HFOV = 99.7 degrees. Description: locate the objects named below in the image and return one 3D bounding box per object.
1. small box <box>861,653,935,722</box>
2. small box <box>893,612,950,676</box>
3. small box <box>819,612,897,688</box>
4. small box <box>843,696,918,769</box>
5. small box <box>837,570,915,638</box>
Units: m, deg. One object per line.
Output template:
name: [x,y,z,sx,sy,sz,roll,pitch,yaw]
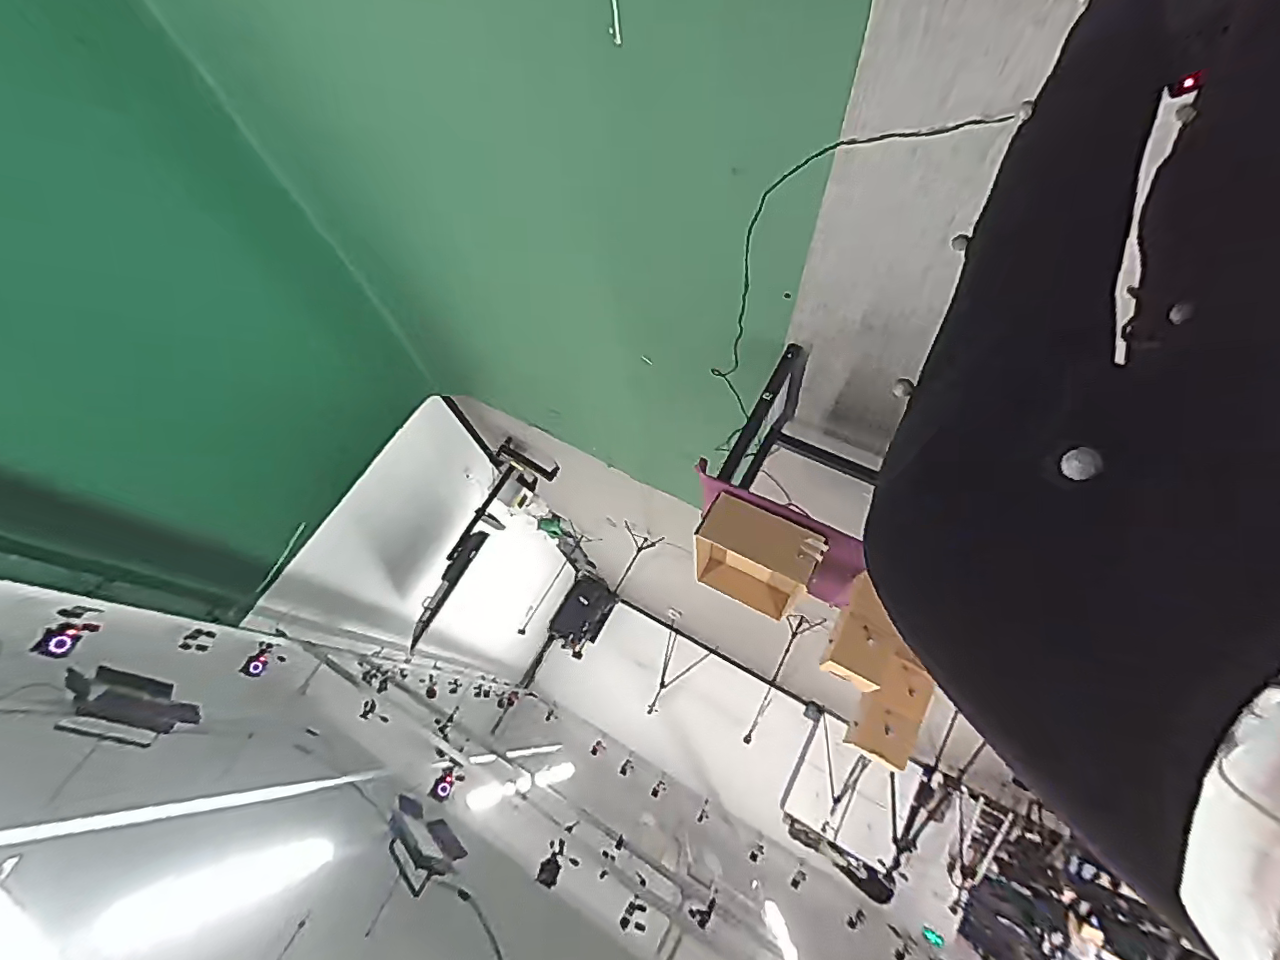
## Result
small box: [0.902,0.720,1.884,0.168,0.176,0.179,26,161,17]
small box: [0.982,0.591,1.940,0.168,0.176,0.179,27,161,17]
small box: [0.701,0.549,1.742,0.168,0.176,0.179,26,161,16]
small box: [0.819,0.854,1.837,0.168,0.176,0.179,27,160,18]
small box: [0.784,0.417,1.792,0.168,0.176,0.179,27,162,16]
